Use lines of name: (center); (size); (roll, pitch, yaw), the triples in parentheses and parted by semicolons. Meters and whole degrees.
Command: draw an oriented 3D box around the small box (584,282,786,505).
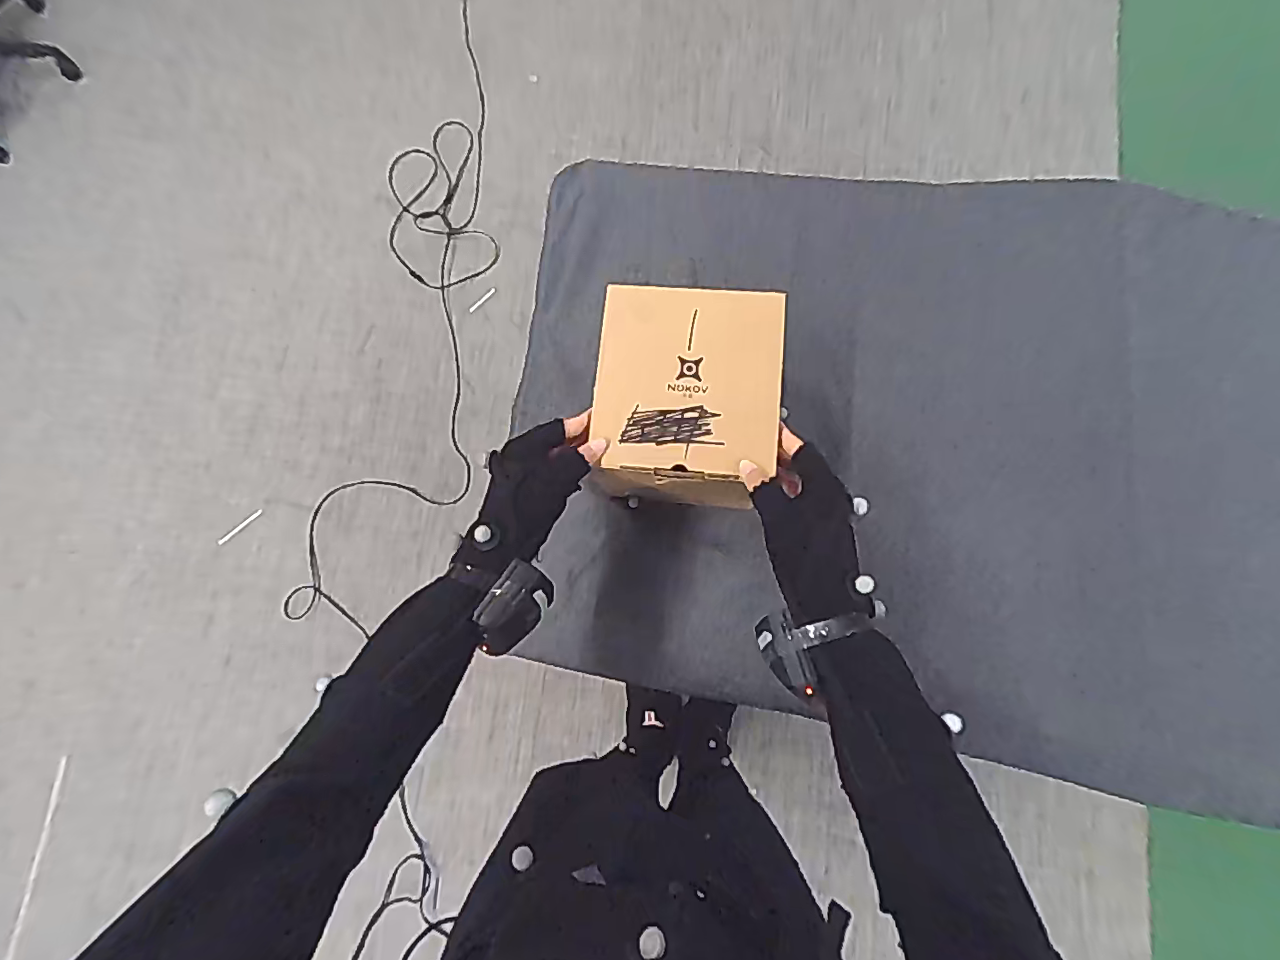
small box: (0.047, -0.075, 0.551); (0.168, 0.176, 0.179); (5, 78, 5)
